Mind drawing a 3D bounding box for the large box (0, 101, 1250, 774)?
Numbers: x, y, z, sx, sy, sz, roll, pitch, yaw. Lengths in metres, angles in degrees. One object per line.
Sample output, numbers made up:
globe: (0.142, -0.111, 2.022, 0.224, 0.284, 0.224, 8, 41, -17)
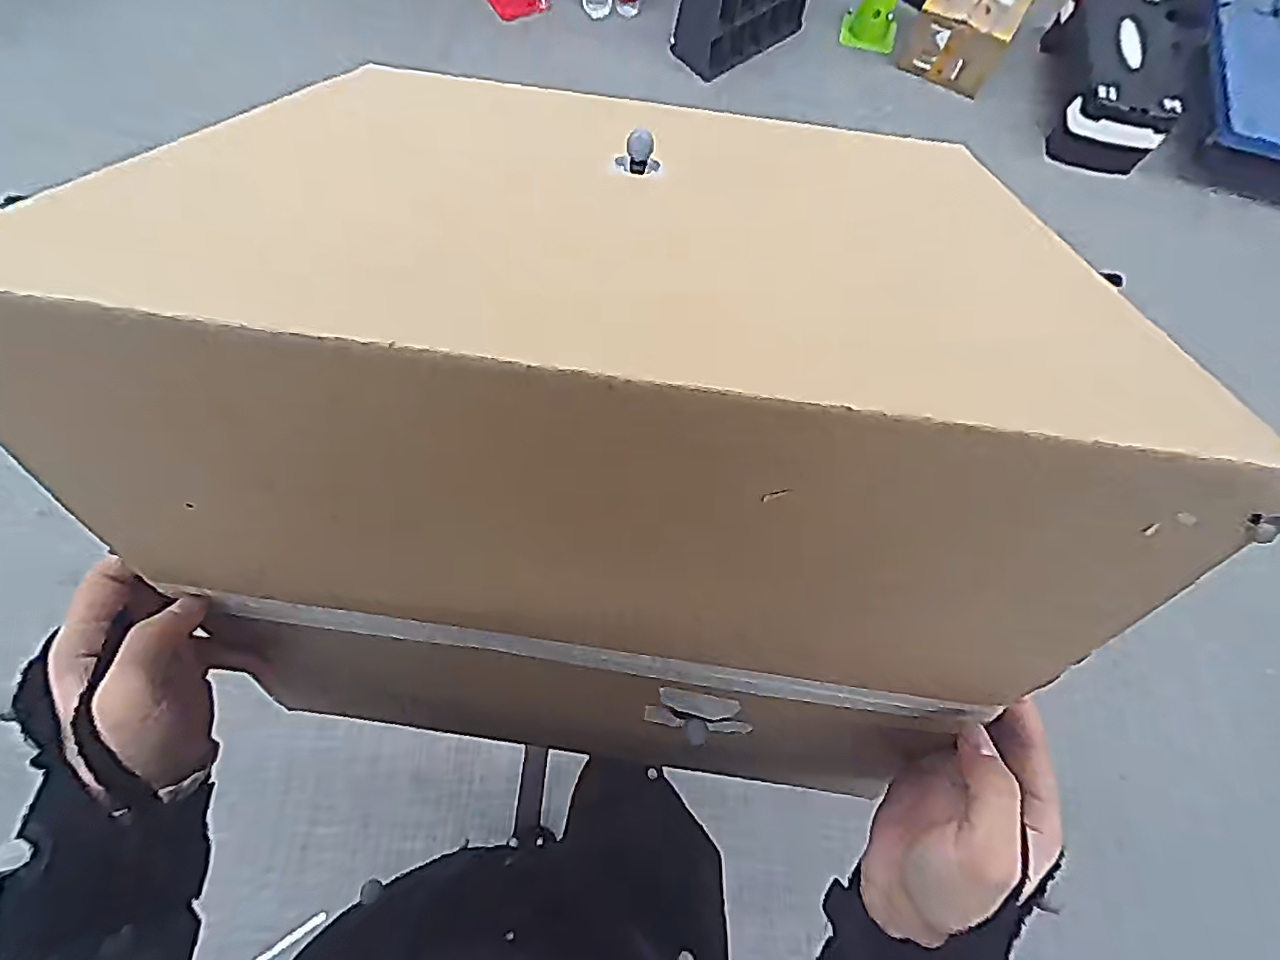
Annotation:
large box: (-0.015, -0.033, 0.371, 0.408, 0.320, 0.320, 7, 47, 1)
